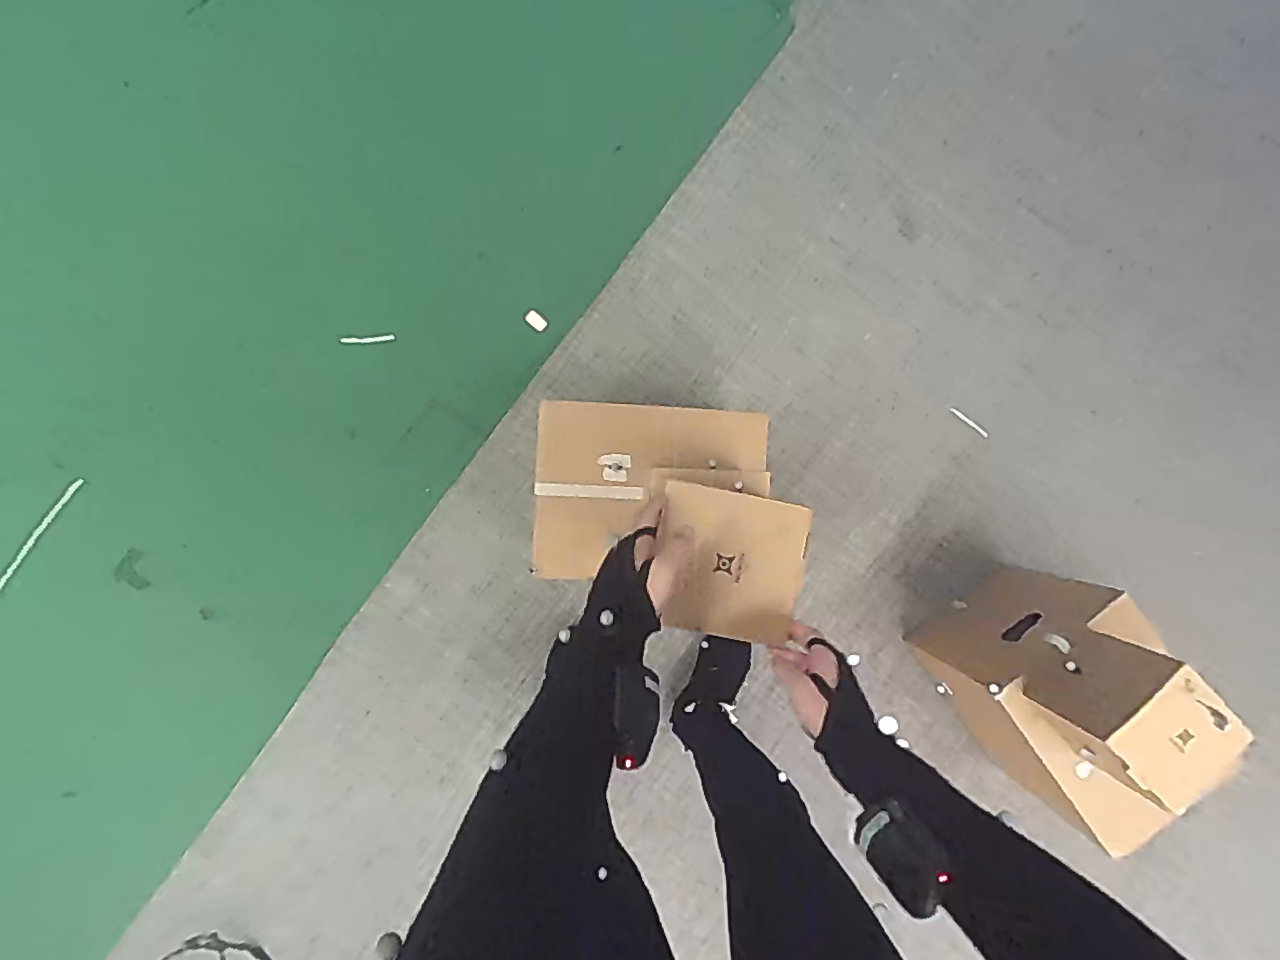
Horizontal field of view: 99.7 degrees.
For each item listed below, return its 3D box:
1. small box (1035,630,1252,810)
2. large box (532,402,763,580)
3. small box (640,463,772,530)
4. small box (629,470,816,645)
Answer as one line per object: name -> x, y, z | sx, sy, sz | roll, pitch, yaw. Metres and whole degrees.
small box -> 0.806, 0.382, 0.894 | 0.179, 0.176, 0.168 | -43, 93, 0
large box -> 0.012, 0.022, 1.095 | 0.408, 0.320, 0.320 | 3, 90, -2
small box -> 0.094, 0.060, 0.852 | 0.179, 0.176, 0.168 | 2, 91, -3
small box -> 0.092, 0.087, 0.689 | 0.179, 0.176, 0.168 | 16, 89, -3
